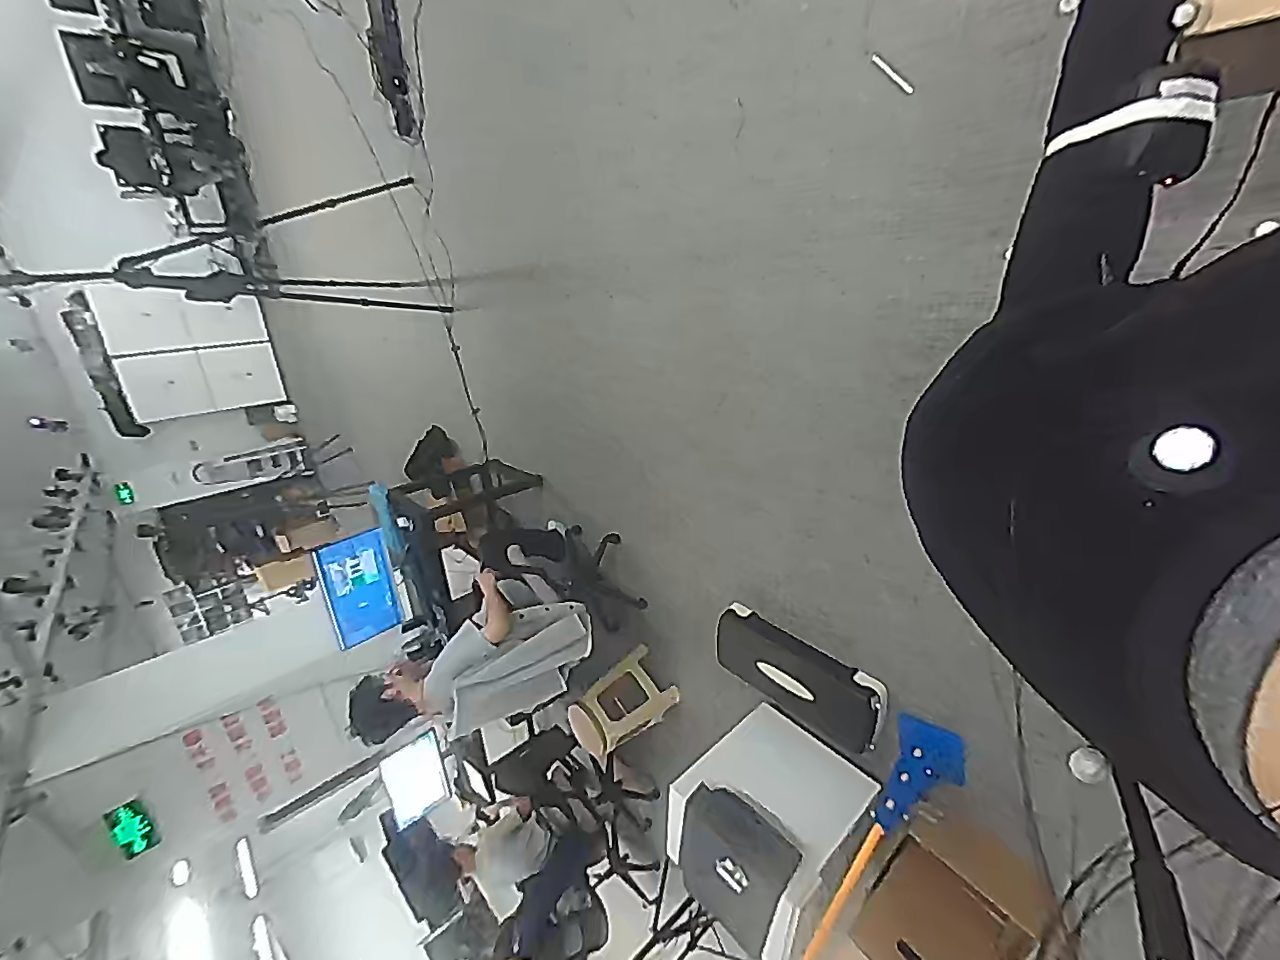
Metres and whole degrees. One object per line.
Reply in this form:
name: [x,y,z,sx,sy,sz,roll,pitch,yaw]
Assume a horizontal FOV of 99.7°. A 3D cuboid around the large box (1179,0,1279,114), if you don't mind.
large box: [0.611,-0.447,0.293,0.408,0.320,0.320,15,116,42]
